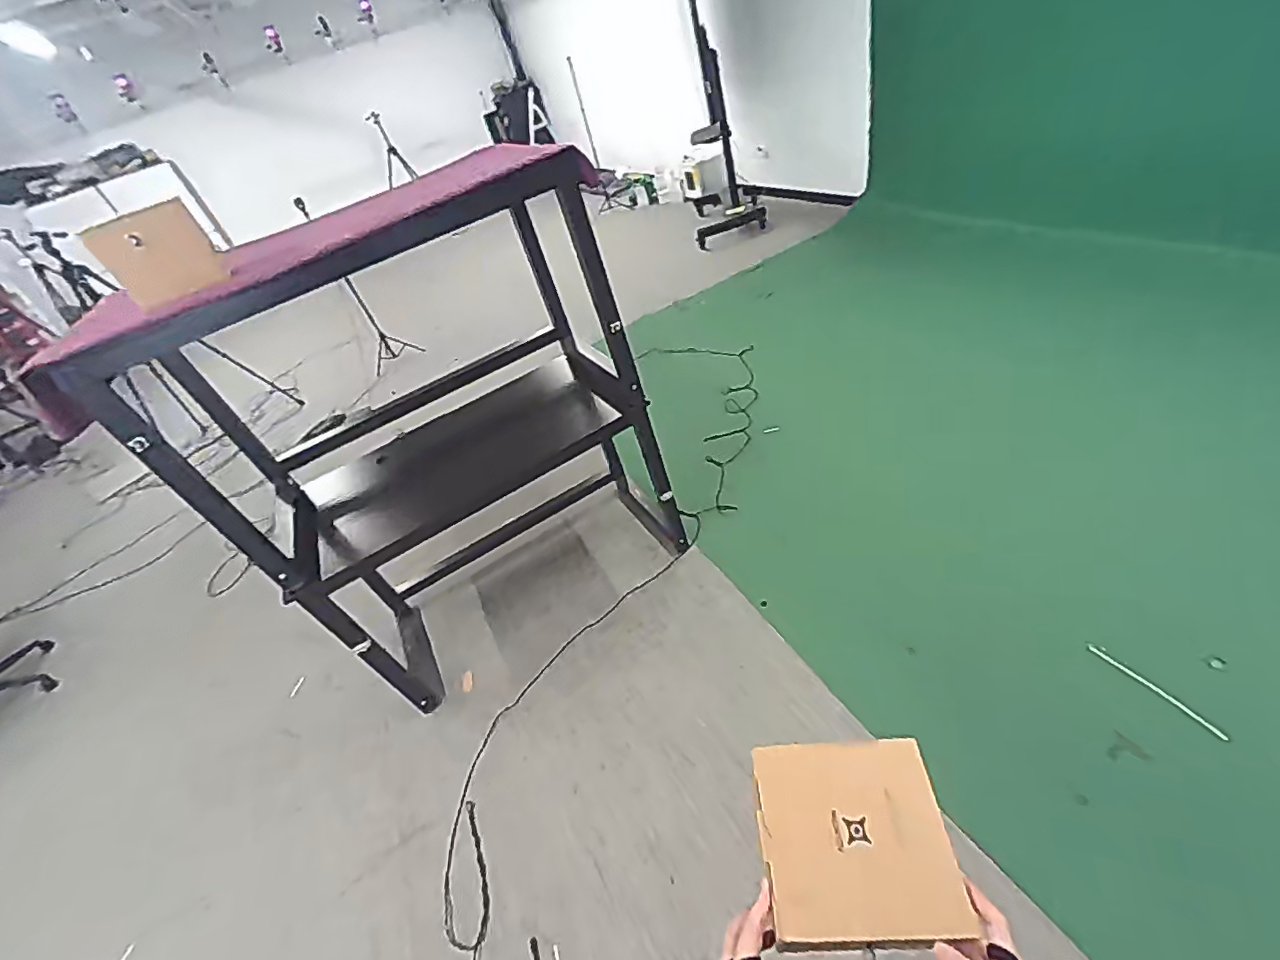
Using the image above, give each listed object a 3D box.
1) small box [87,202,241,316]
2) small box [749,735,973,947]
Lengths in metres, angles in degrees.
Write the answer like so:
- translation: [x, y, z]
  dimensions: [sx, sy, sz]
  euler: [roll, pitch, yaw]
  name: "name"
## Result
- translation: [-1.020, -0.481, 1.177]
  dimensions: [0.179, 0.176, 0.168]
  euler: [-32, 41, -14]
  name: "small box"
- translation: [0.218, 0.395, 0.588]
  dimensions: [0.179, 0.176, 0.168]
  euler: [-6, 47, 6]
  name: "small box"
